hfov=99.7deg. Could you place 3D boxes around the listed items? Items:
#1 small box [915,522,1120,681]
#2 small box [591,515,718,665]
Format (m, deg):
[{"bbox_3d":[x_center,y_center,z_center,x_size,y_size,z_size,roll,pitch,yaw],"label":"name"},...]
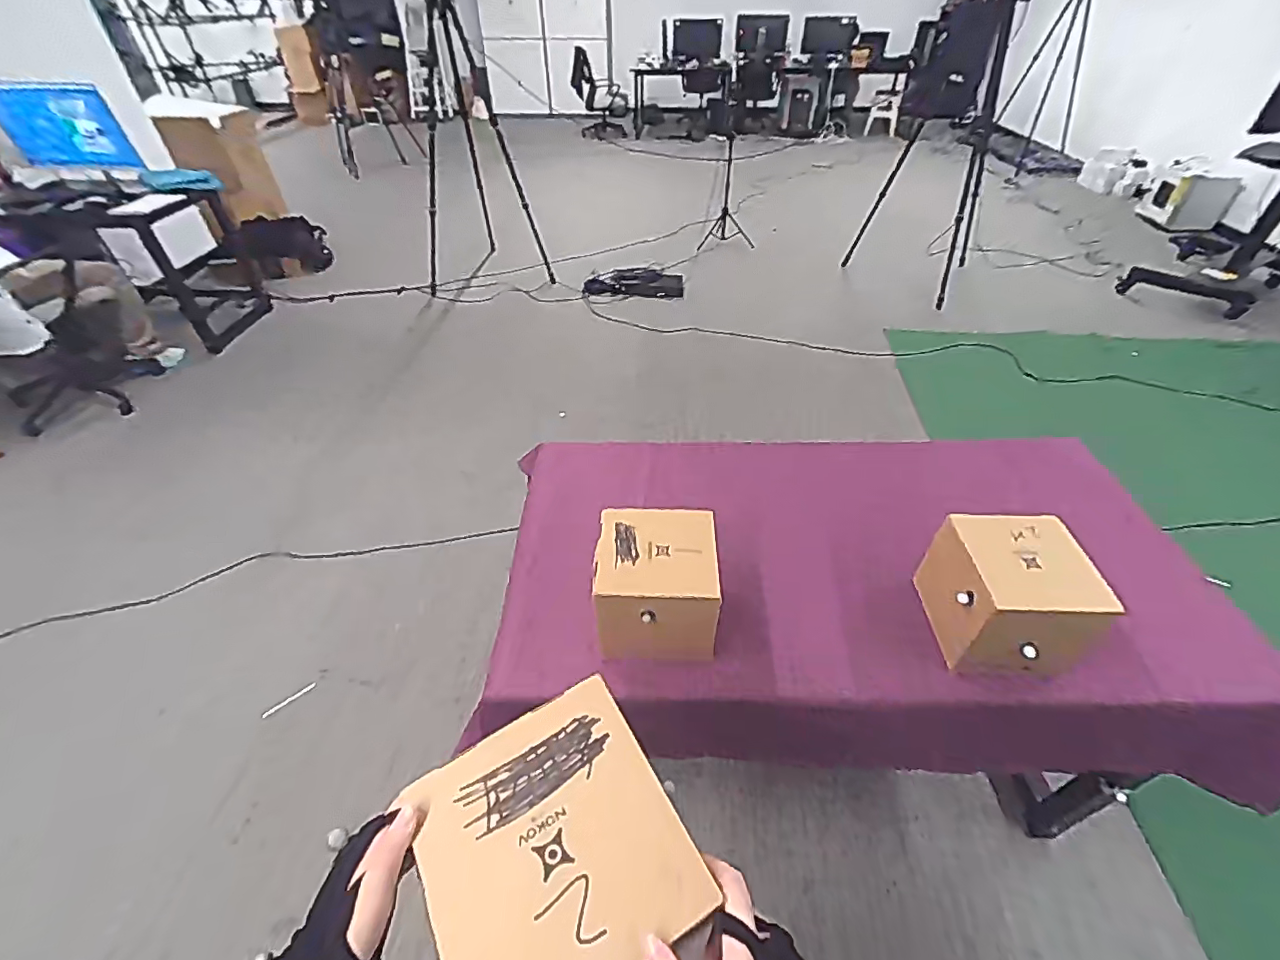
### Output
[{"bbox_3d":[0.547,0.184,0.816,0.168,0.176,0.179,2,42,3],"label":"small box"},{"bbox_3d":[0.024,0.172,0.840,0.179,0.176,0.168,2,42,2],"label":"small box"}]
